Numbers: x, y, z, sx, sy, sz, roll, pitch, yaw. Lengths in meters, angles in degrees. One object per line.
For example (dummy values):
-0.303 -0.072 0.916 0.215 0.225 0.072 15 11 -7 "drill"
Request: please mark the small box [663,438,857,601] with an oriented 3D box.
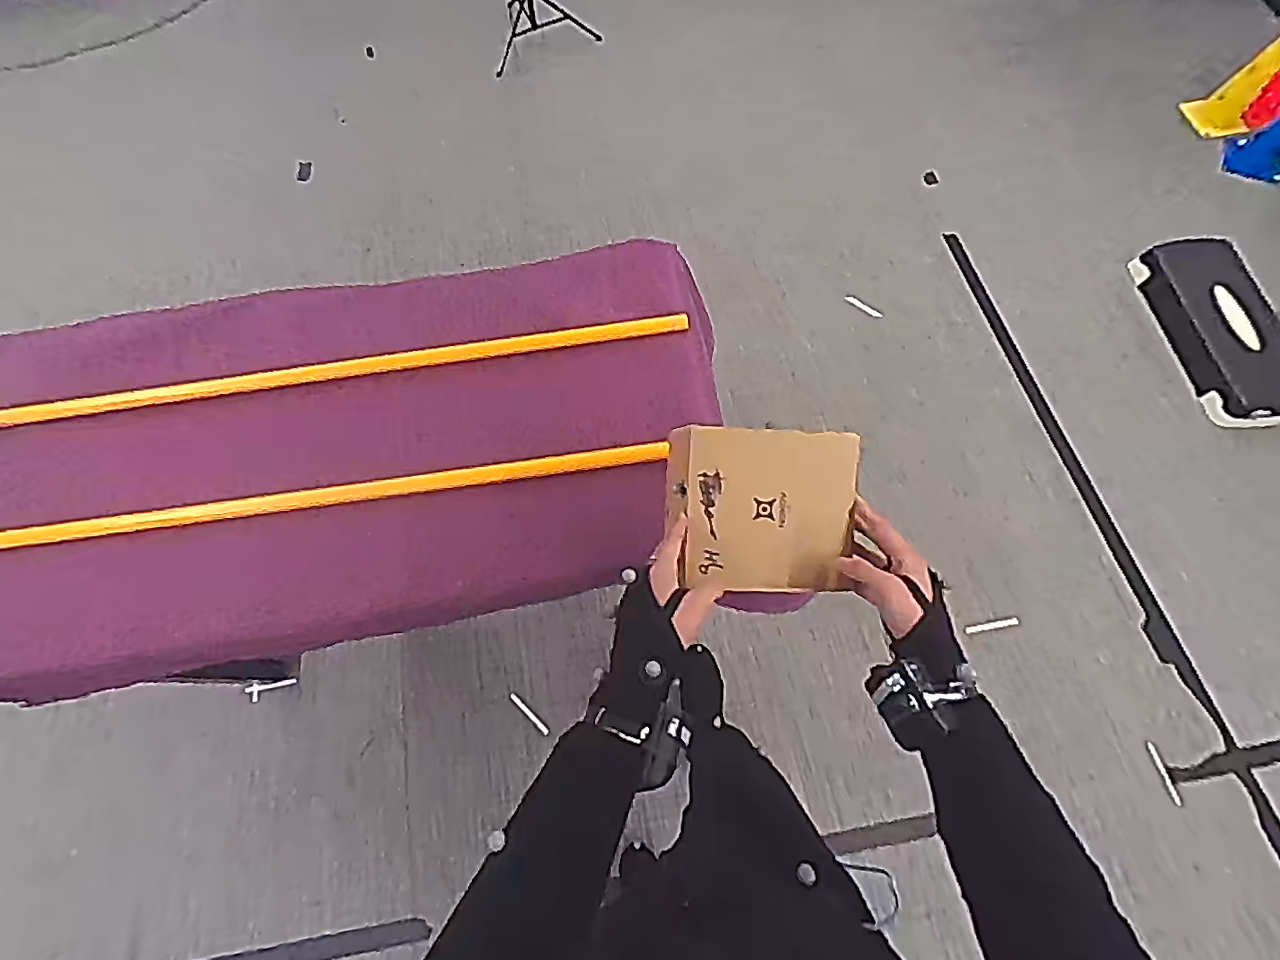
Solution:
0.127 0.037 0.632 0.179 0.176 0.168 2 93 -4 "small box"
